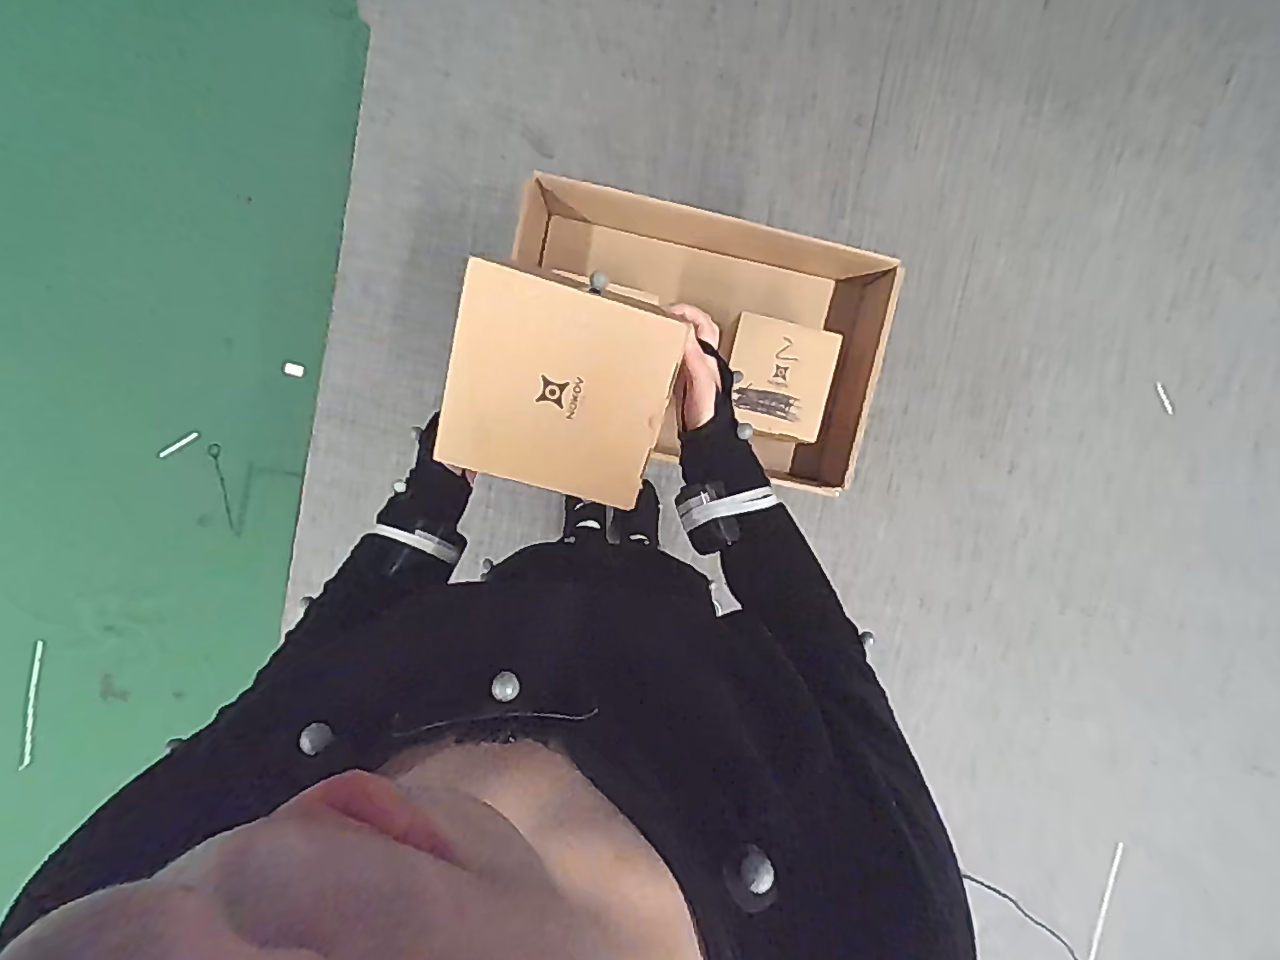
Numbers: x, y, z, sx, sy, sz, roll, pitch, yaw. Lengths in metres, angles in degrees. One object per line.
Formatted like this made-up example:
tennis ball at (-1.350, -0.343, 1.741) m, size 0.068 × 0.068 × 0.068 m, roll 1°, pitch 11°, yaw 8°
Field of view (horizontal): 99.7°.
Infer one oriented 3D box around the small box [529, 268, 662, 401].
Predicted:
small box at (-0.071, -0.233, 0.913) m, size 0.179 × 0.176 × 0.168 m, roll 14°, pitch 95°, yaw -3°
